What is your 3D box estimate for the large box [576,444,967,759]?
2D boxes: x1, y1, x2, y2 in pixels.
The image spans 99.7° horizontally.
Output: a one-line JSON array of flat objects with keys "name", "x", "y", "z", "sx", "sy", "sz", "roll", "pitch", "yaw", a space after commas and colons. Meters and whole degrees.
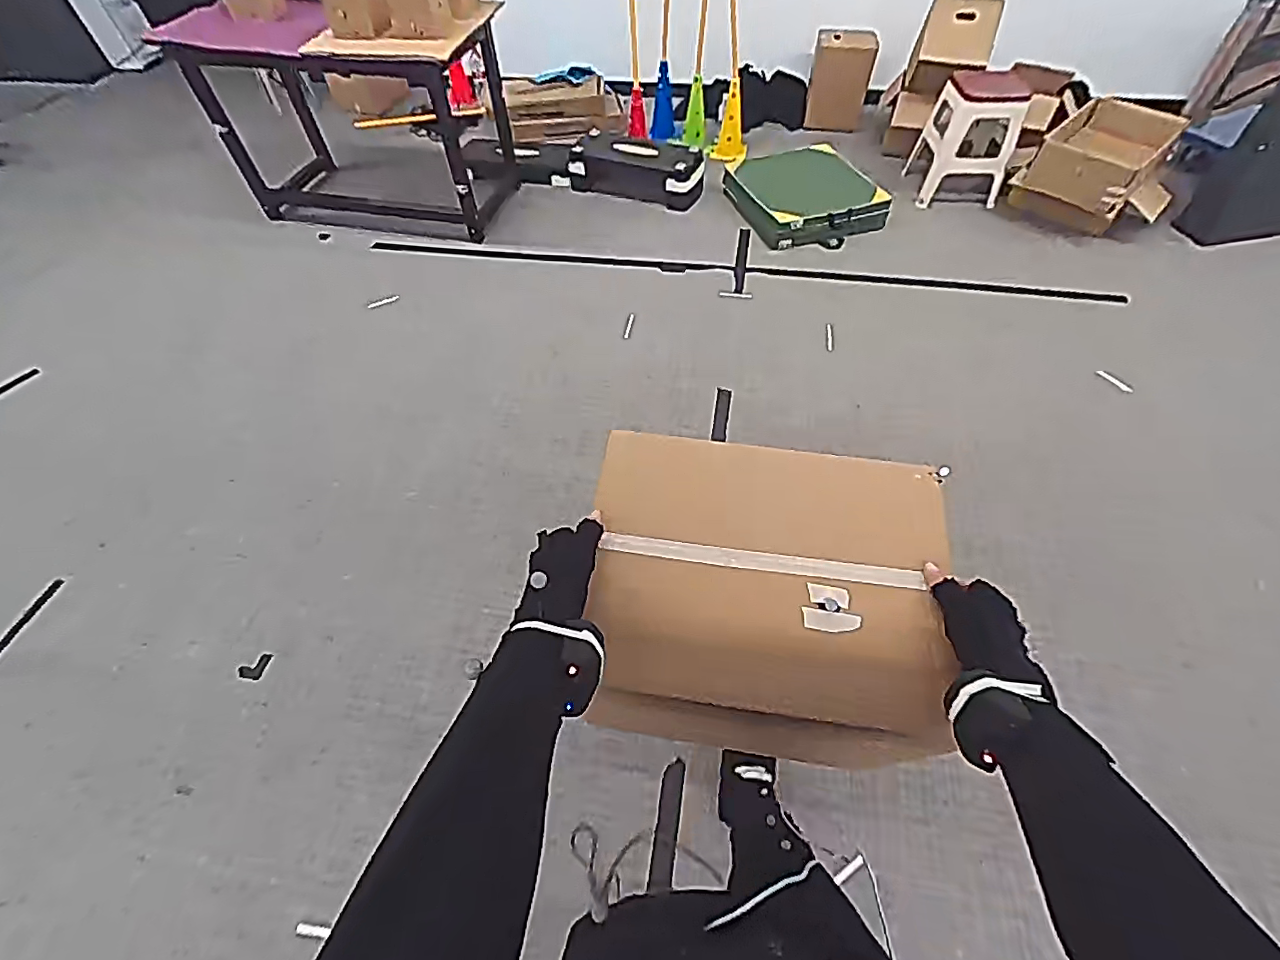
[{"name": "large box", "x": 0.146, "y": 0.179, "z": 0.749, "sx": 0.408, "sy": 0.320, "sz": 0.320, "roll": 7, "pitch": 59, "yaw": 4}]
